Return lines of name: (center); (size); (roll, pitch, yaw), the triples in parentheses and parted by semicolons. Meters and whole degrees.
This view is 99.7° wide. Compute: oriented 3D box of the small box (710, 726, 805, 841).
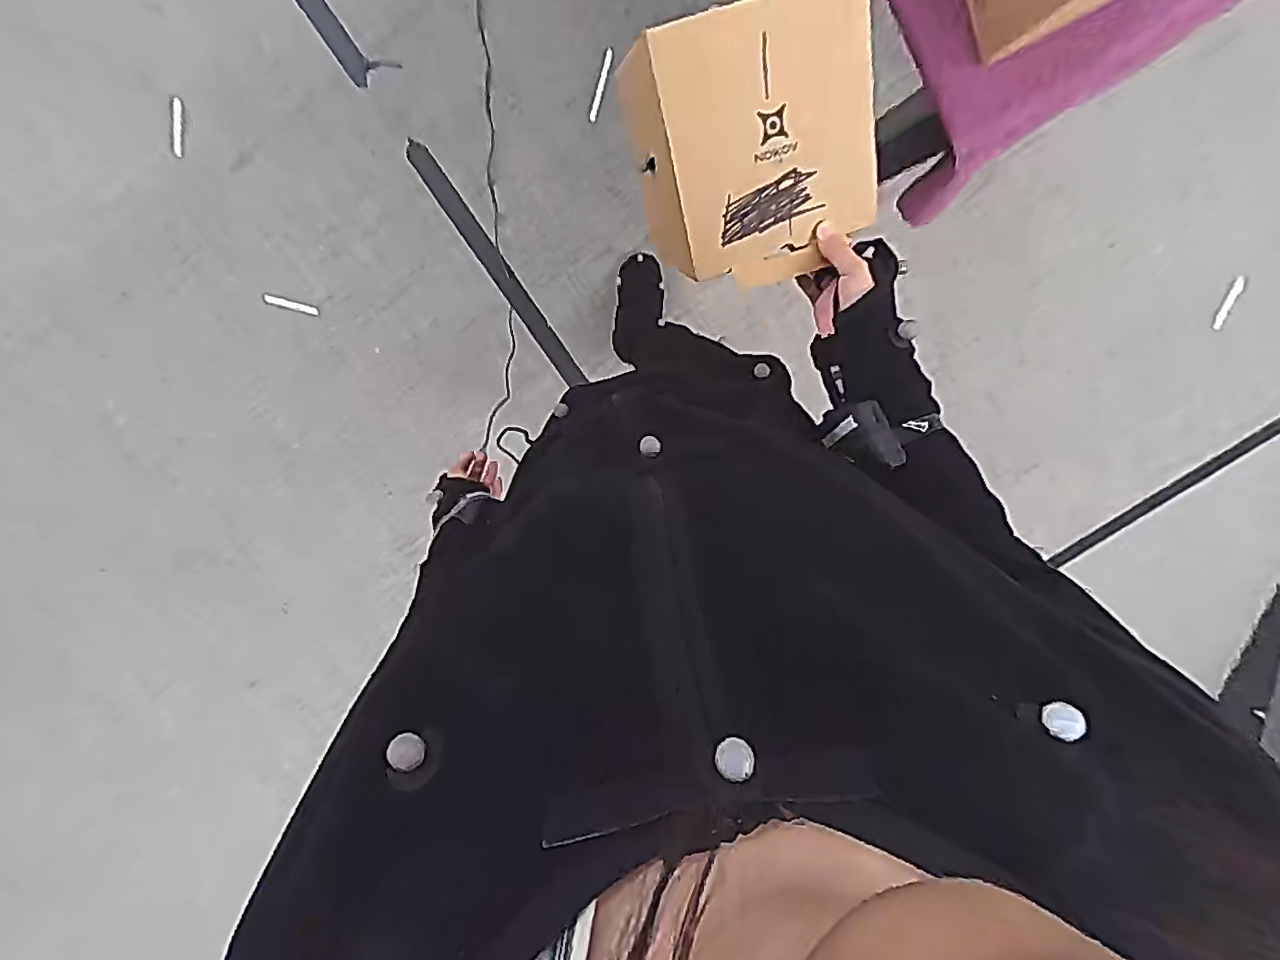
small box: (0.307, 0.802, 1.444); (0.168, 0.176, 0.179); (-34, 105, 8)

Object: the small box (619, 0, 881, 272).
small box: (0.089, -0.307, 0.480); (0.168, 0.176, 0.179); (-19, 119, -1)
